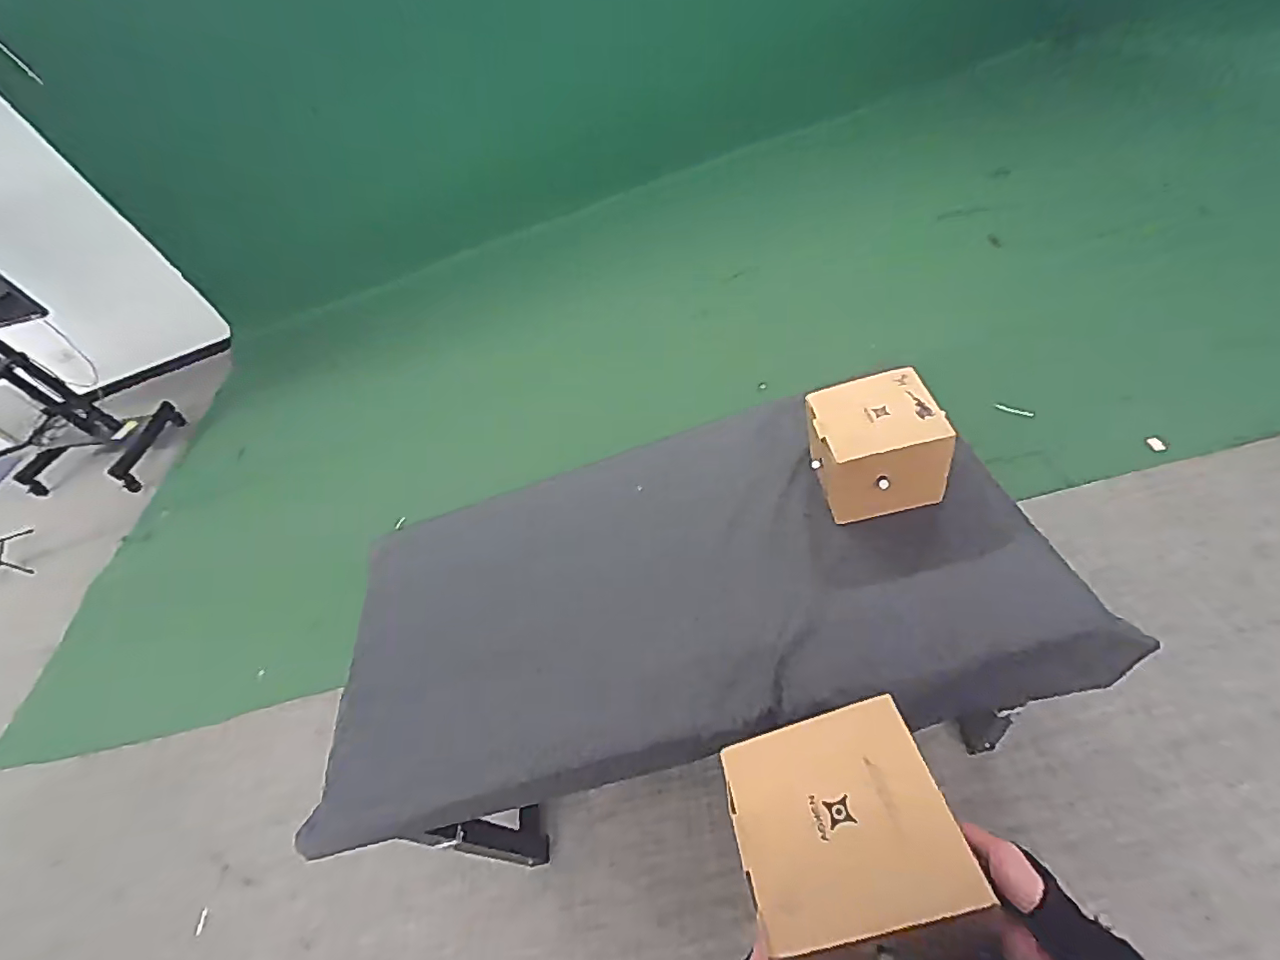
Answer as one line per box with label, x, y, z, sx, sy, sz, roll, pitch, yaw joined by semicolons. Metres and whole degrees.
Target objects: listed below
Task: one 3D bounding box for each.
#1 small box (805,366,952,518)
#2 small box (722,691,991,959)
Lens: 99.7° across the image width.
small box;0.392;-0.056;0.908;0.179;0.176;0.168;-15;49;11
small box;0.200;0.337;0.512;0.179;0.176;0.168;-22;38;9
